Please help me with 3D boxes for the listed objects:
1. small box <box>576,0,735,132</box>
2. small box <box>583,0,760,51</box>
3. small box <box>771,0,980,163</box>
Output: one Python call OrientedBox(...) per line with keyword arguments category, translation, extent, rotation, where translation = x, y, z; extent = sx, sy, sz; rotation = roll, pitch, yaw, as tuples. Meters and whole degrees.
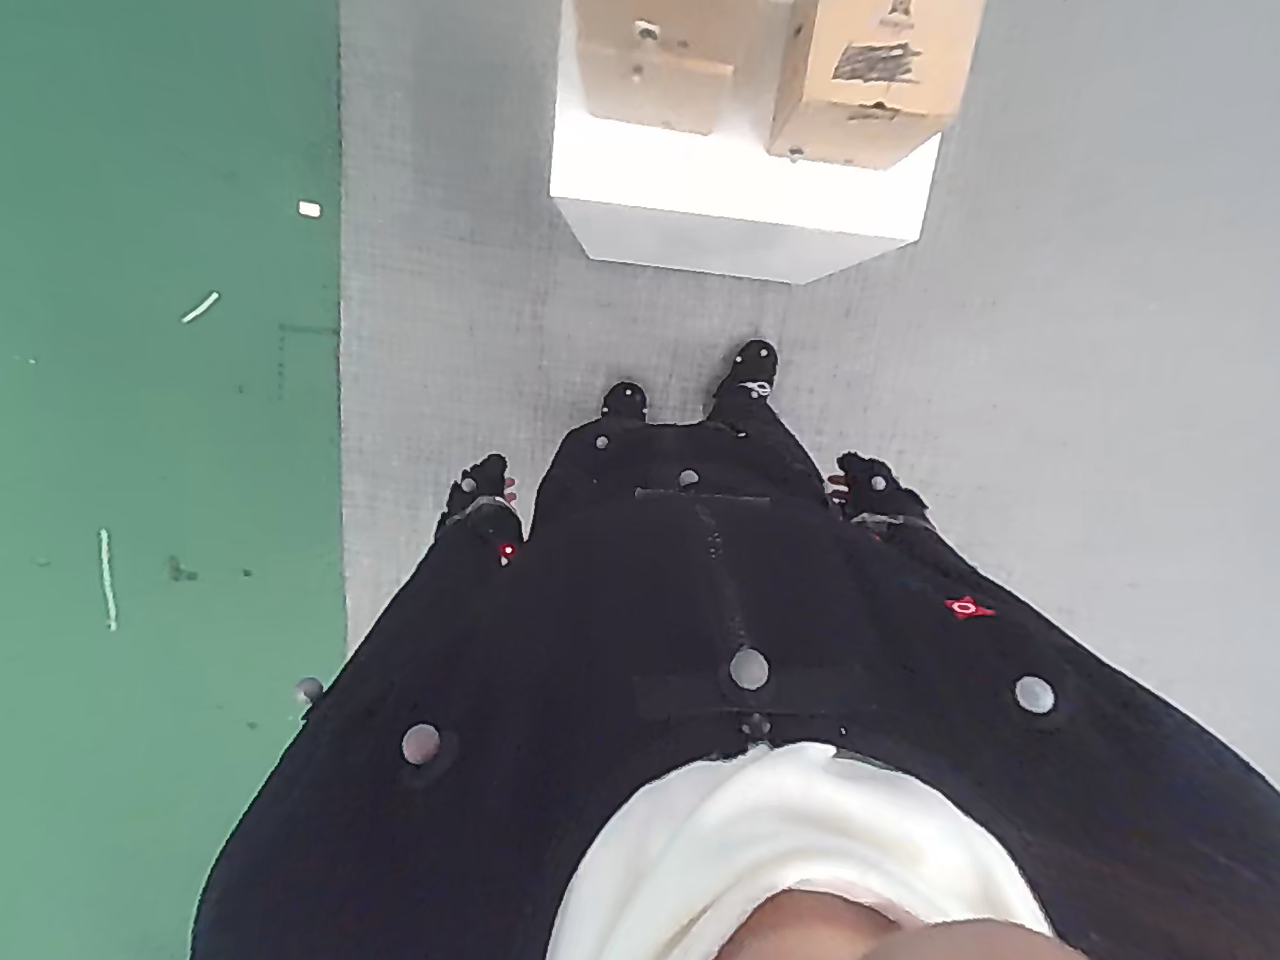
OrientedBox(category="small box", translation=(0.028, -0.535, 0.612), extent=(0.168, 0.176, 0.179), rotation=(9, 103, -1))
OrientedBox(category="small box", translation=(0.032, -0.499, 0.438), extent=(0.168, 0.176, 0.179), rotation=(7, 105, -1))
OrientedBox(category="small box", translation=(0.258, -0.491, 0.620), extent=(0.168, 0.176, 0.179), rotation=(8, 103, -1))
